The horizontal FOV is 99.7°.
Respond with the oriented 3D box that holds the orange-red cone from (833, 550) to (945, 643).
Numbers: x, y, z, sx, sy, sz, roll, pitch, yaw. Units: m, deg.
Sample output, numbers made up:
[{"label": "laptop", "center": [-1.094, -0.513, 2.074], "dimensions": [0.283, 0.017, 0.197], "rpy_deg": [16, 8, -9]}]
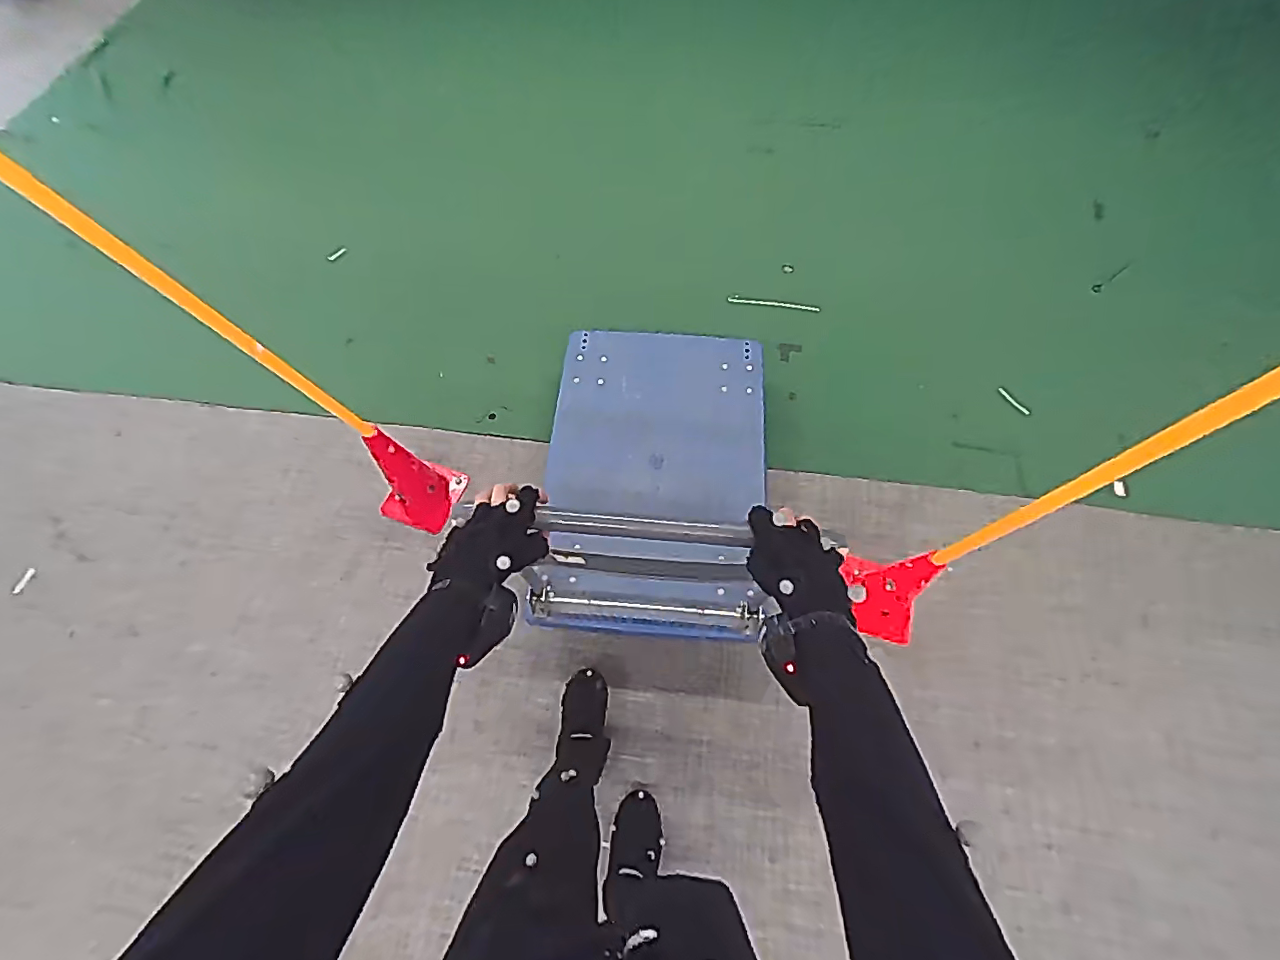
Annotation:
[{"label": "orange-red cone", "center": [0.623, 0.241, 1.285], "dimensions": [0.198, 0.360, 0.199], "rpy_deg": [17, 66, 9]}]
